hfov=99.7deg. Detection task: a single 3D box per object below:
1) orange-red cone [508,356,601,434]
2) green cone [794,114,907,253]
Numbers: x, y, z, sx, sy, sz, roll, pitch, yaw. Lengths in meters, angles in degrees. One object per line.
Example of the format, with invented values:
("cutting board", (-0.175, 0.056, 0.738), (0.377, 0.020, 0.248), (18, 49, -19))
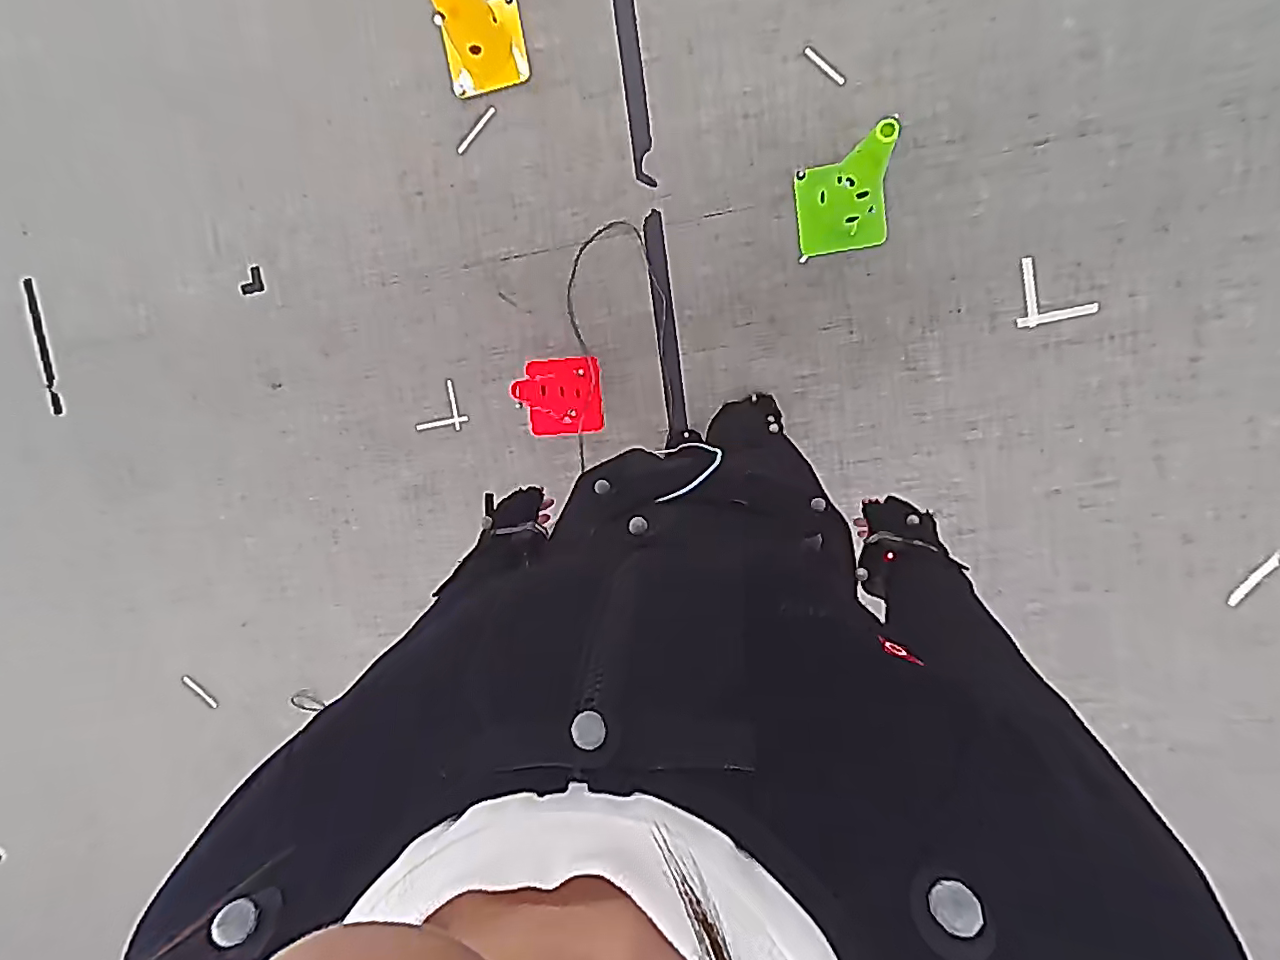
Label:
("orange-red cone", (-0.225, -0.205, 1.254), (0.199, 0.360, 0.198), (-3, 95, 9))
("green cone", (0.455, -0.629, 1.111), (0.202, 0.368, 0.200), (-7, 96, 7))
